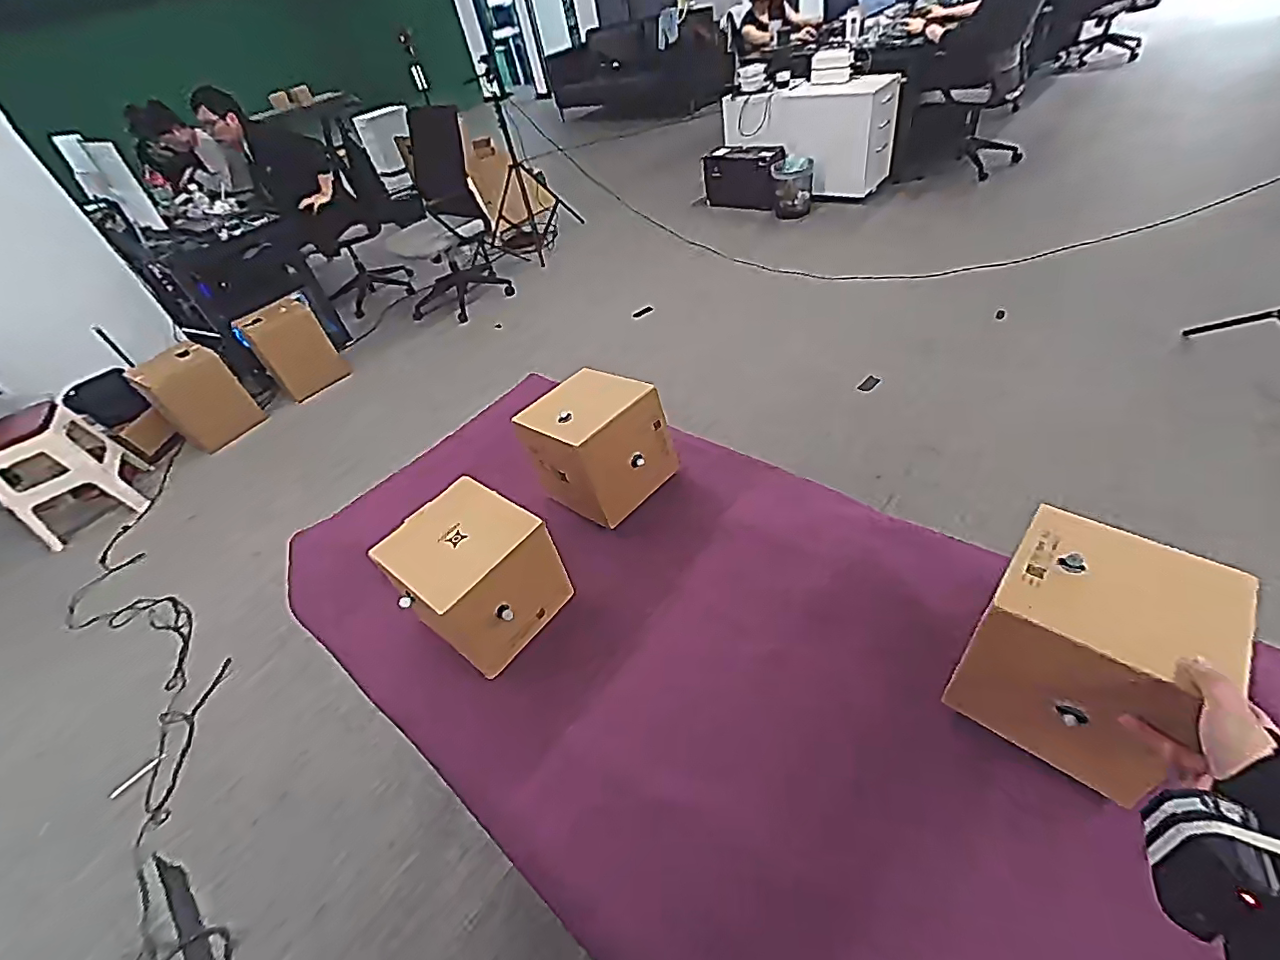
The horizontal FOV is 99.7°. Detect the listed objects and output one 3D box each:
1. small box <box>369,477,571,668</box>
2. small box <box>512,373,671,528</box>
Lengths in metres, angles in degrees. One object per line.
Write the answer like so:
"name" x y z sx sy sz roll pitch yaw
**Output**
"small box" -0.221 0.130 0.745 0.179 0.176 0.168 24 55 33
"small box" -0.068 -0.057 0.877 0.179 0.168 0.176 23 53 42
